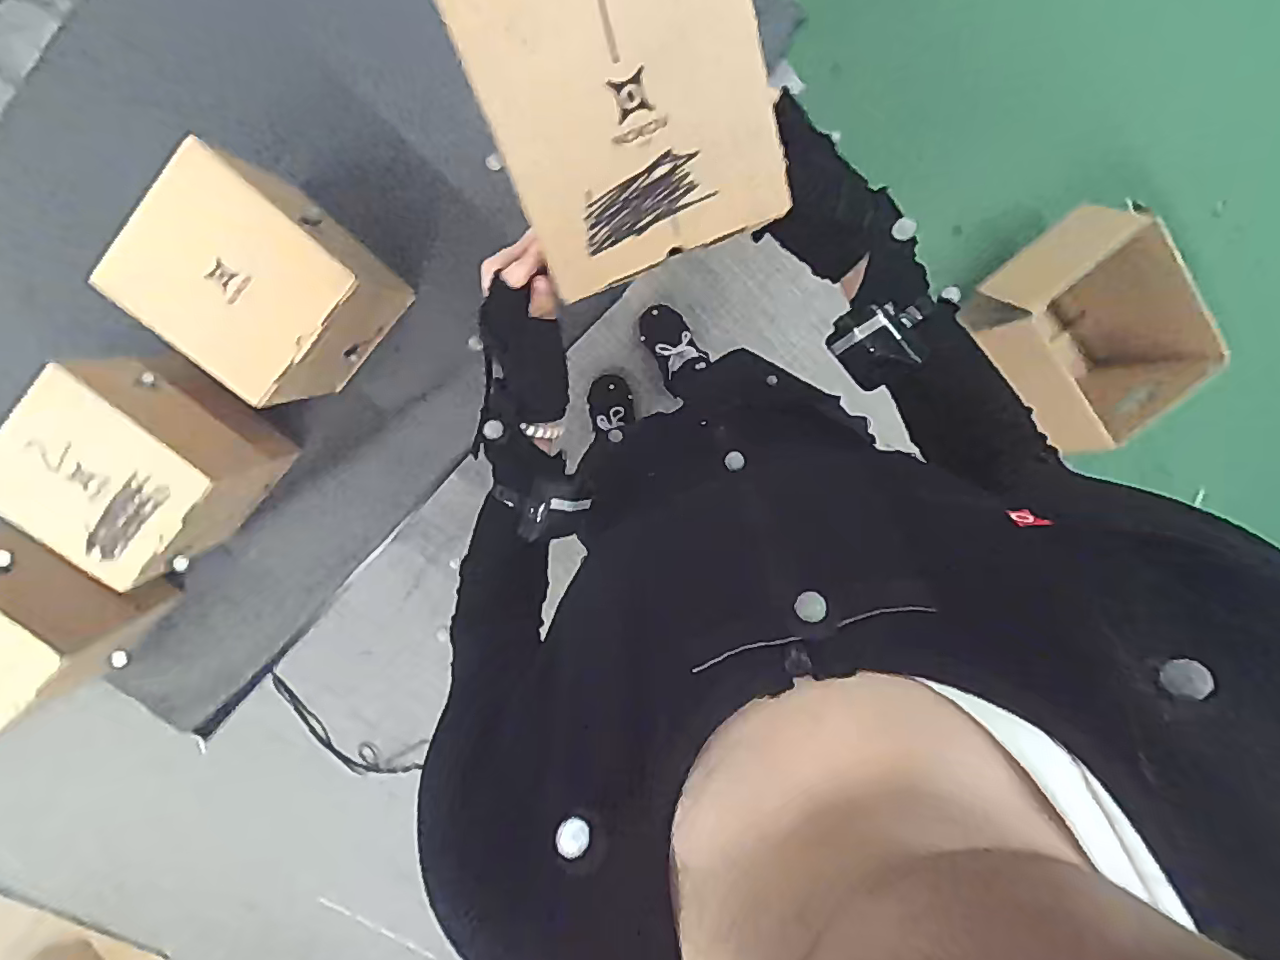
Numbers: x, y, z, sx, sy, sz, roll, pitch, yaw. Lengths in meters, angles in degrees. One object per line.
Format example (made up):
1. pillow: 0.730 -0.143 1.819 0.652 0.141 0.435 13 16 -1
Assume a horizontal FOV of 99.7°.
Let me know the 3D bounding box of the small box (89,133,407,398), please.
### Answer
1. small box: -0.389 -0.209 0.574 0.179 0.176 0.168 41 98 -14

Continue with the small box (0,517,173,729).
1. small box: -0.729 0.163 0.637 0.168 0.176 0.179 -43 102 7

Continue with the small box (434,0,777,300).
1. small box: -0.018 -0.256 0.389 0.168 0.176 0.179 -19 121 3
